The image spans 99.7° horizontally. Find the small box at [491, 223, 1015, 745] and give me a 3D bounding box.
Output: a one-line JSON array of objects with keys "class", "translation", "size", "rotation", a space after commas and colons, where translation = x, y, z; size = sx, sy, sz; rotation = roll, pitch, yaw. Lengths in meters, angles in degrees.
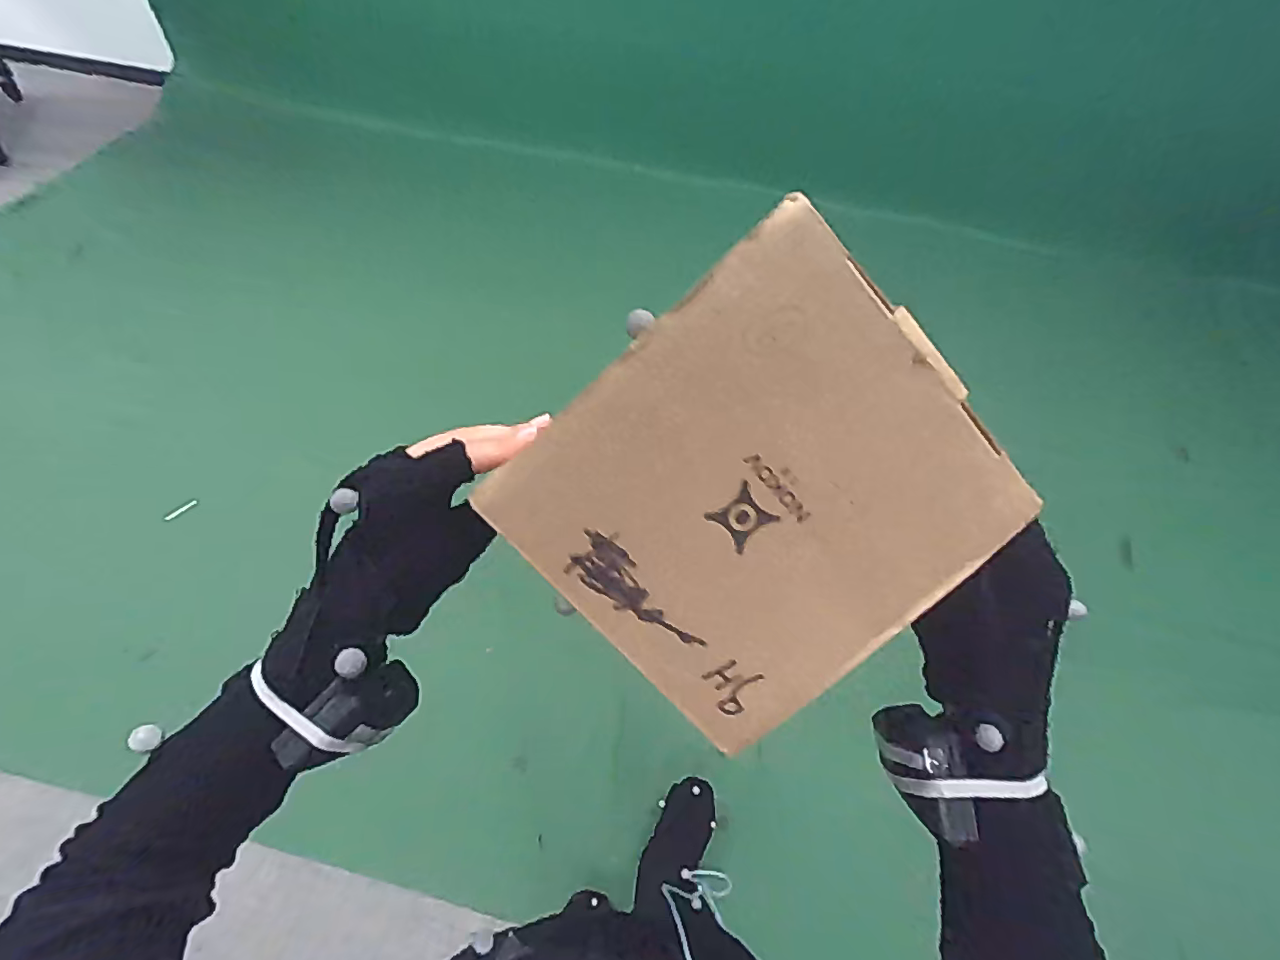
[{"class": "small box", "translation": [0.048, -0.003, 0.313], "size": [0.179, 0.176, 0.168], "rotation": [-41, 97, 6]}]
